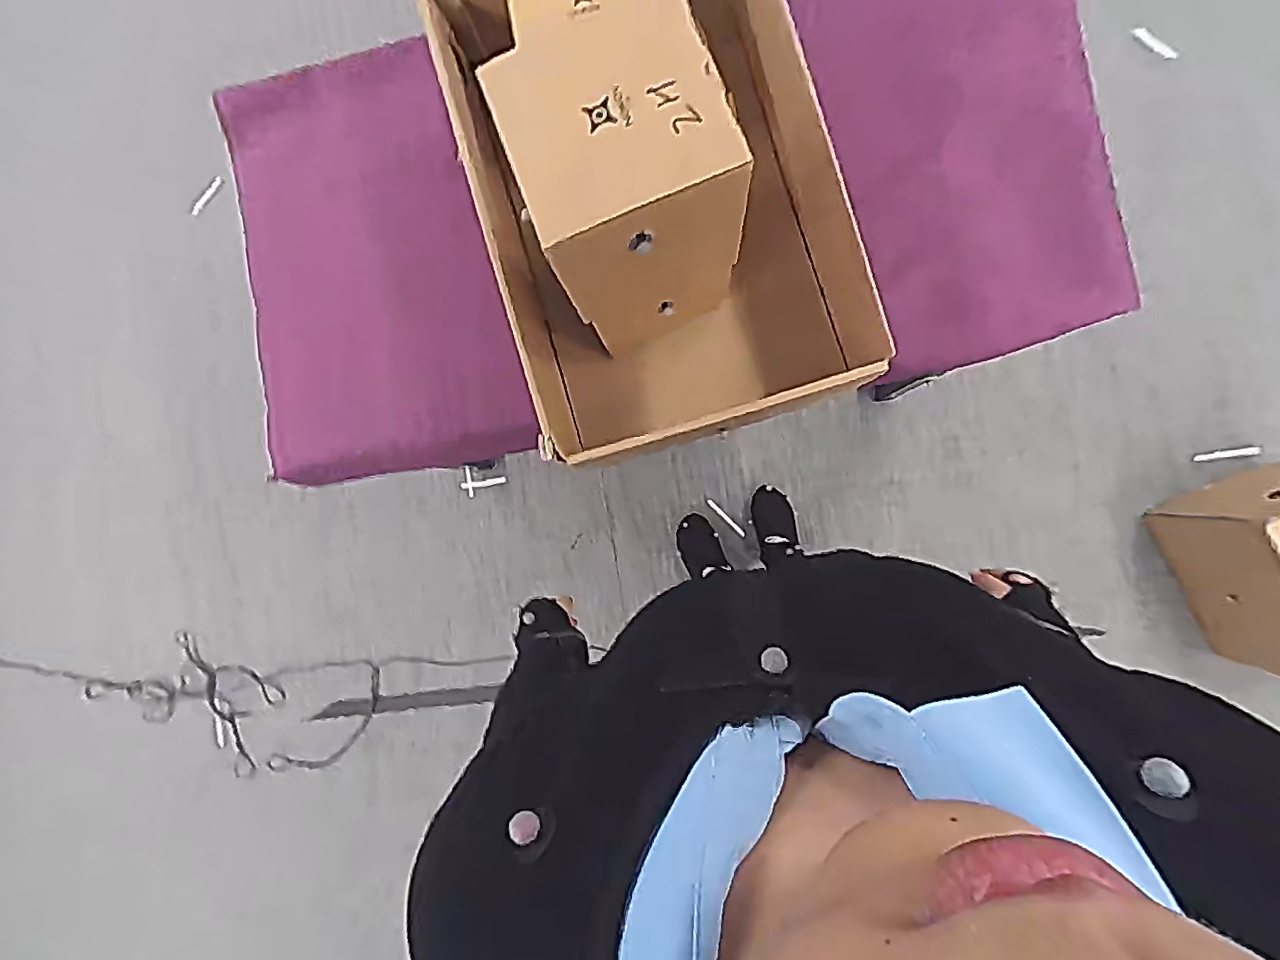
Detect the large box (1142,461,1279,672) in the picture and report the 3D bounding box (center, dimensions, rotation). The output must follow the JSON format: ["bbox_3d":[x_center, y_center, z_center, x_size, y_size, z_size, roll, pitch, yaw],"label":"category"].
[{"bbox_3d":[1.489,0.194,1.212,0.320,0.320,0.408,-28,85,4],"label":"large box"}]

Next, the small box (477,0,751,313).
[{"bbox_3d":[-0.015,-0.278,0.492,0.179,0.176,0.168,-21,85,4],"label":"small box"}]
